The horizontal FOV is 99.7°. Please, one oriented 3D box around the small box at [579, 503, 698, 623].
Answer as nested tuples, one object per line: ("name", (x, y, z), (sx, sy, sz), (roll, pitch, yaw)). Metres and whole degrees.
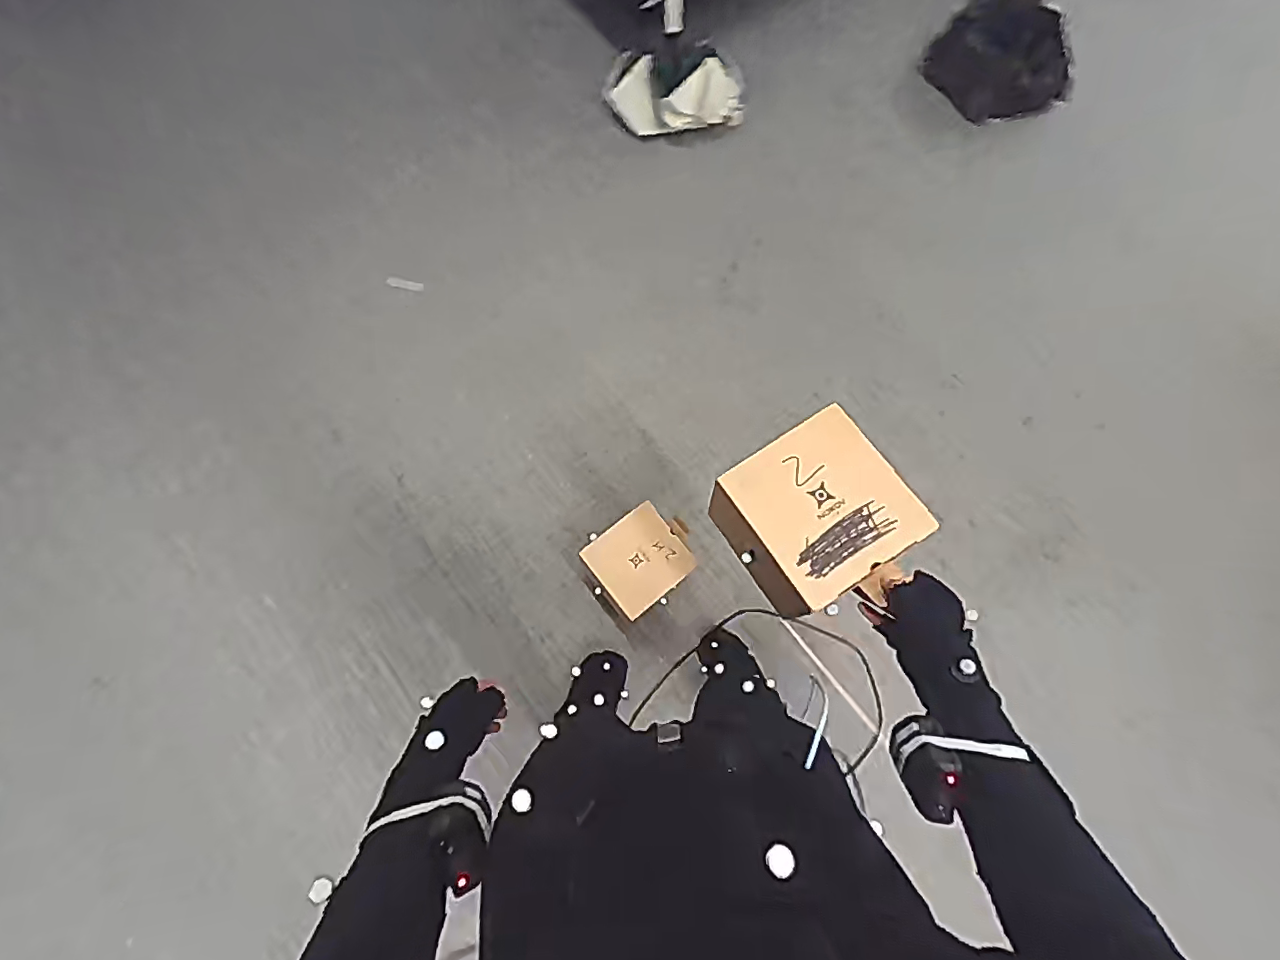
("small box", (-0.007, 0.177, 1.112), (0.179, 0.176, 0.168), (-37, 81, -13))
